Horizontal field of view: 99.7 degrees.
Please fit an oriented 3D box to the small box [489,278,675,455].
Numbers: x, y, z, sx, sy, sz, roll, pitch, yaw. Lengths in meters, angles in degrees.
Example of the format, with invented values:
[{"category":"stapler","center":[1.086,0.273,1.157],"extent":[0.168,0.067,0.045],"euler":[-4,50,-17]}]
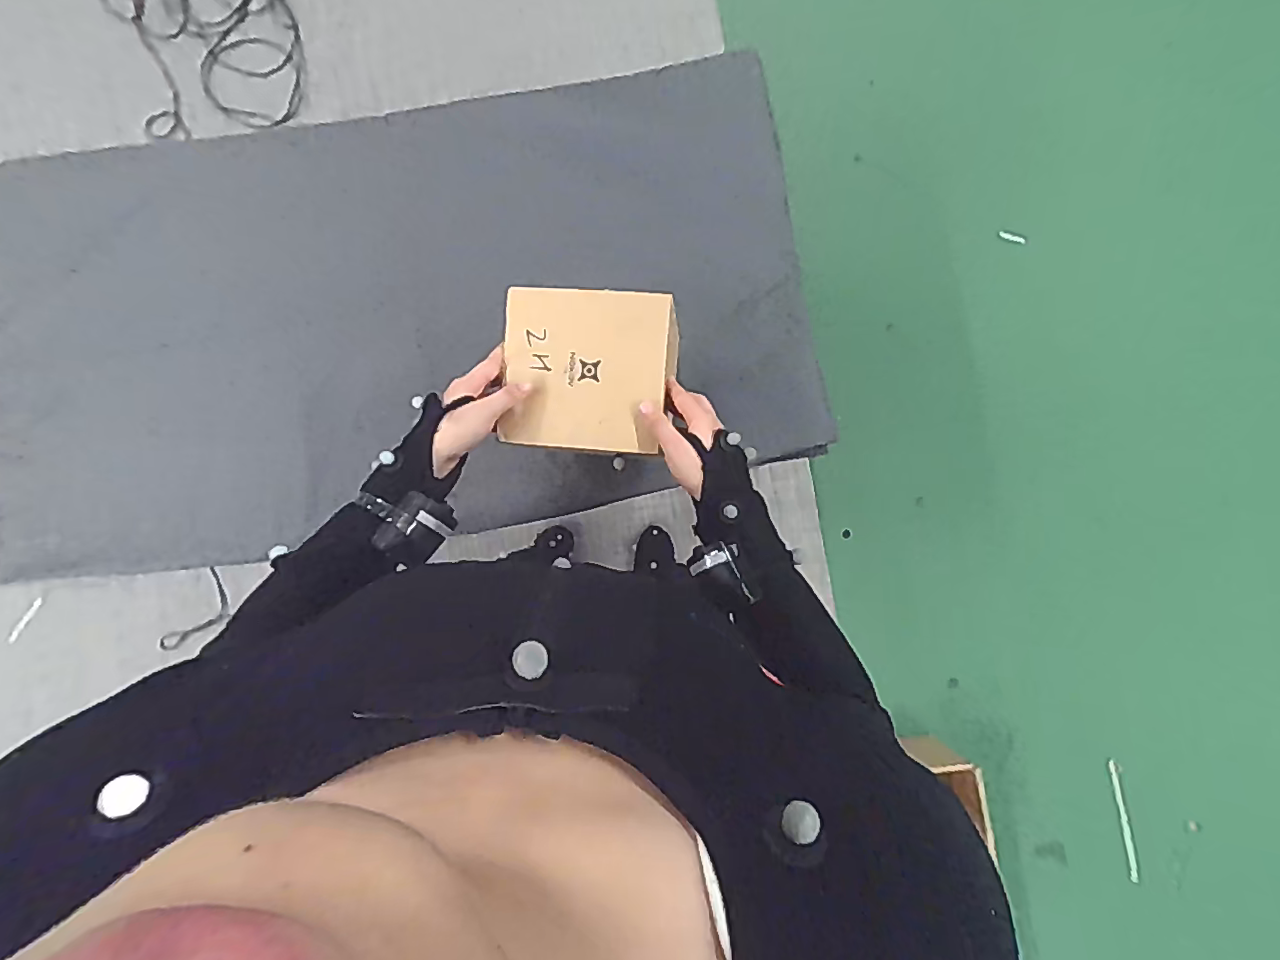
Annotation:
[{"category":"small box","center":[-0.054,-0.118,0.624],"extent":[0.179,0.176,0.168],"euler":[5,91,7]}]
